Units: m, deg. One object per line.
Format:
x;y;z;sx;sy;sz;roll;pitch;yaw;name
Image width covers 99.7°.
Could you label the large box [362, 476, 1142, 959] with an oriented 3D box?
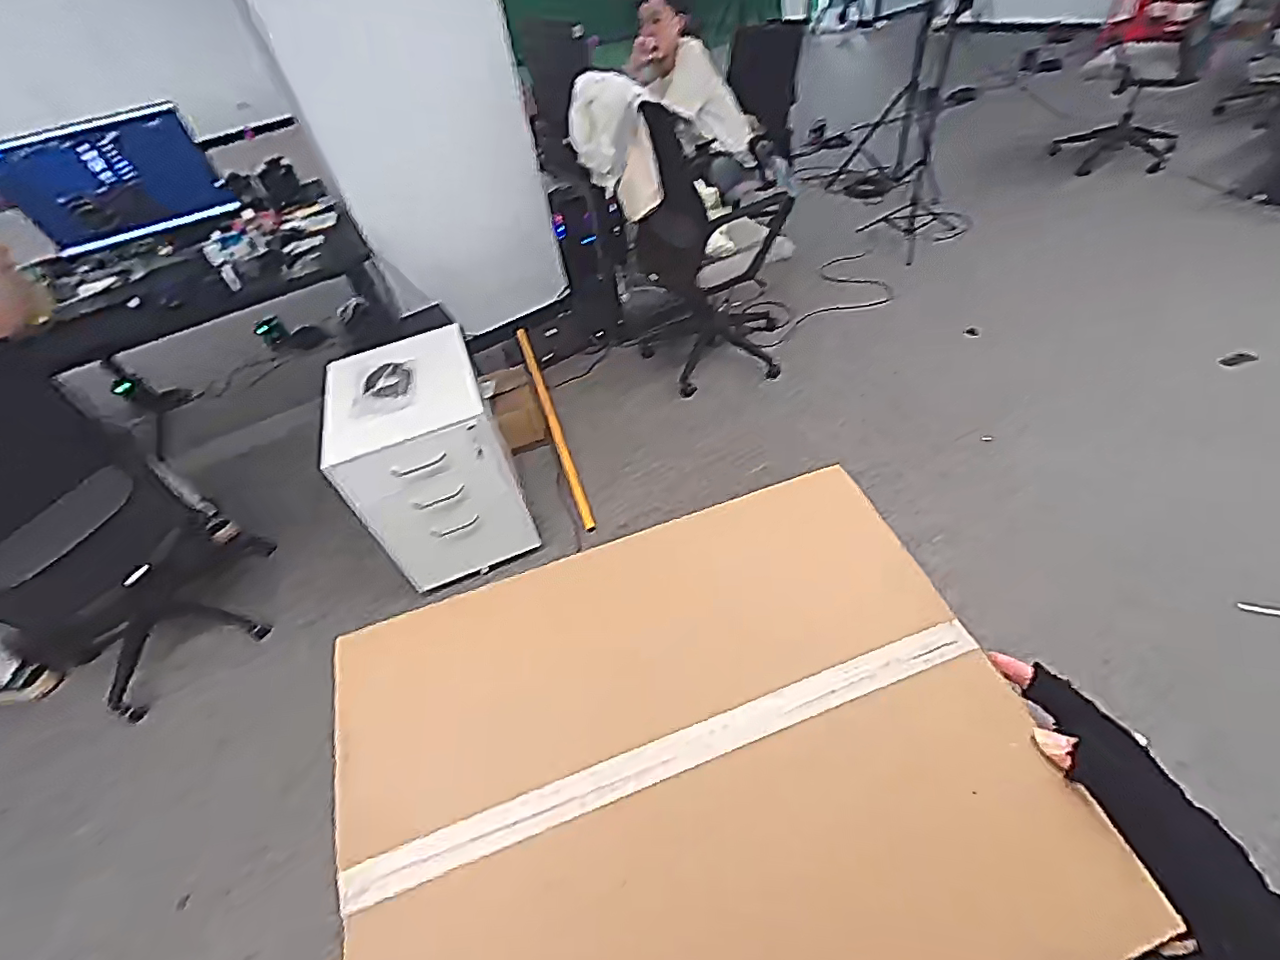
0.041;0.260;0.459;0.408;0.320;0.320;-19;55;-8;large box
